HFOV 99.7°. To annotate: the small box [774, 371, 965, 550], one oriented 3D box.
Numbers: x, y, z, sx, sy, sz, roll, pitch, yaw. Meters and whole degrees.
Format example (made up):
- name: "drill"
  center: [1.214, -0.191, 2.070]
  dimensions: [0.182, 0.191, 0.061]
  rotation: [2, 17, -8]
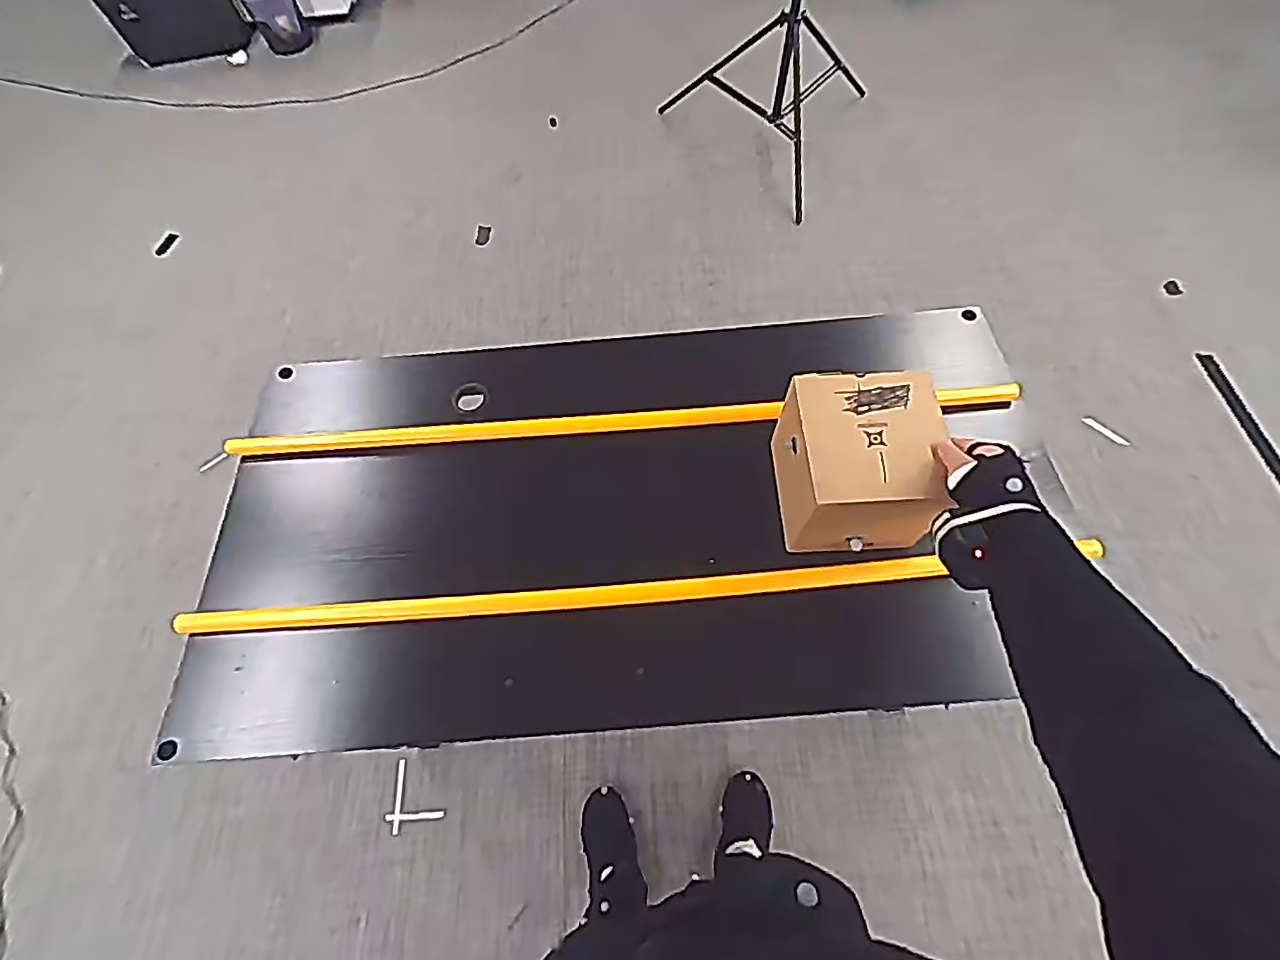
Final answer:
- name: "small box"
  center: [0.277, -0.019, 0.701]
  dimensions: [0.168, 0.176, 0.179]
  rotation: [-2, 64, 3]
